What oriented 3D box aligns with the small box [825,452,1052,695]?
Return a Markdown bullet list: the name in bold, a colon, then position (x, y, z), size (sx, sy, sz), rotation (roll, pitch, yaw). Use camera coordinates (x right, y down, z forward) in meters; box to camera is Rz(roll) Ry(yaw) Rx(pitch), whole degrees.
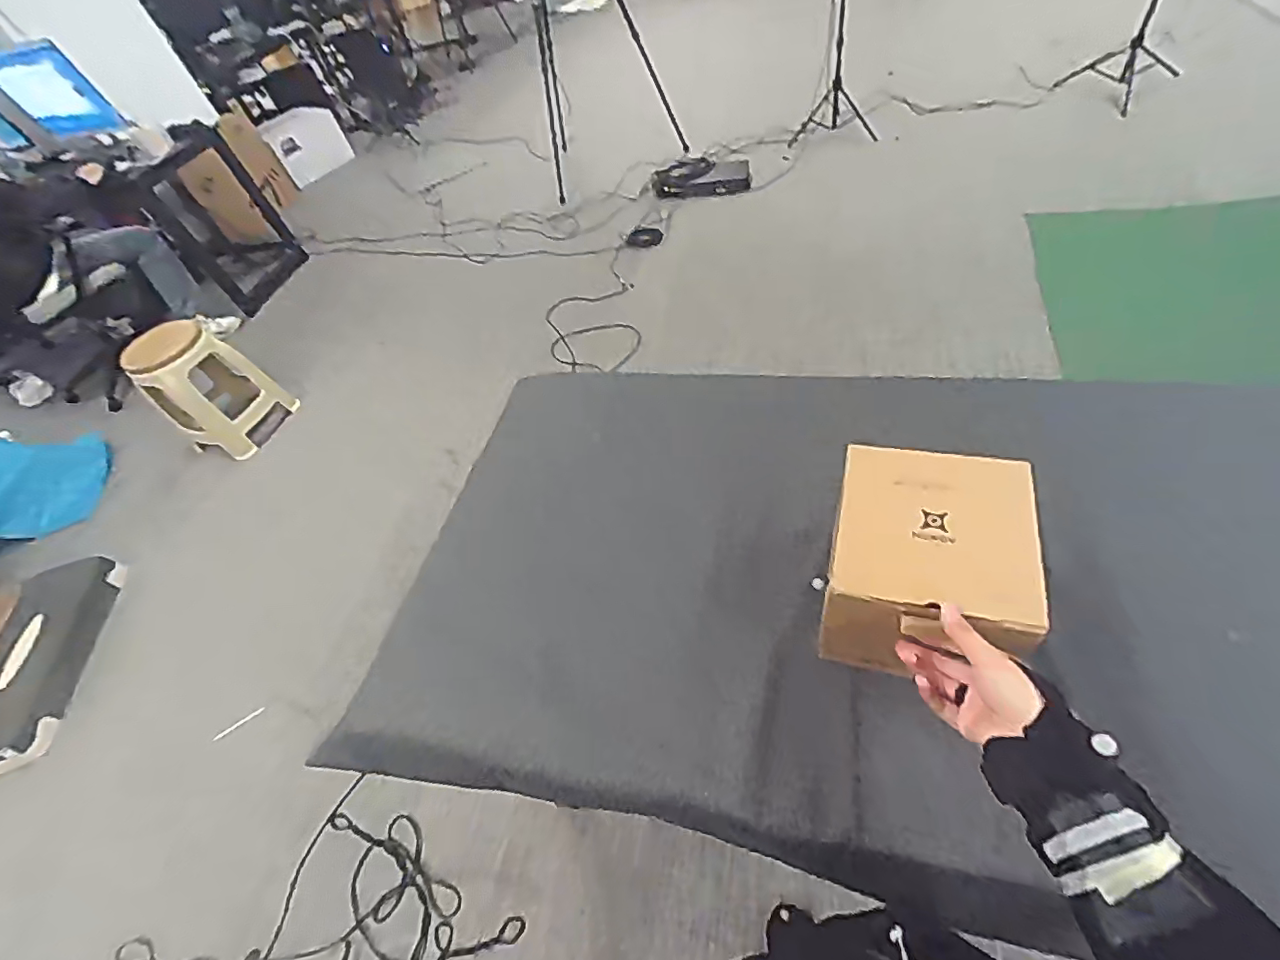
- **small box**: position (0.288, 0.097, 0.556), size (0.168, 0.176, 0.179), rotation (8, 54, 19)
